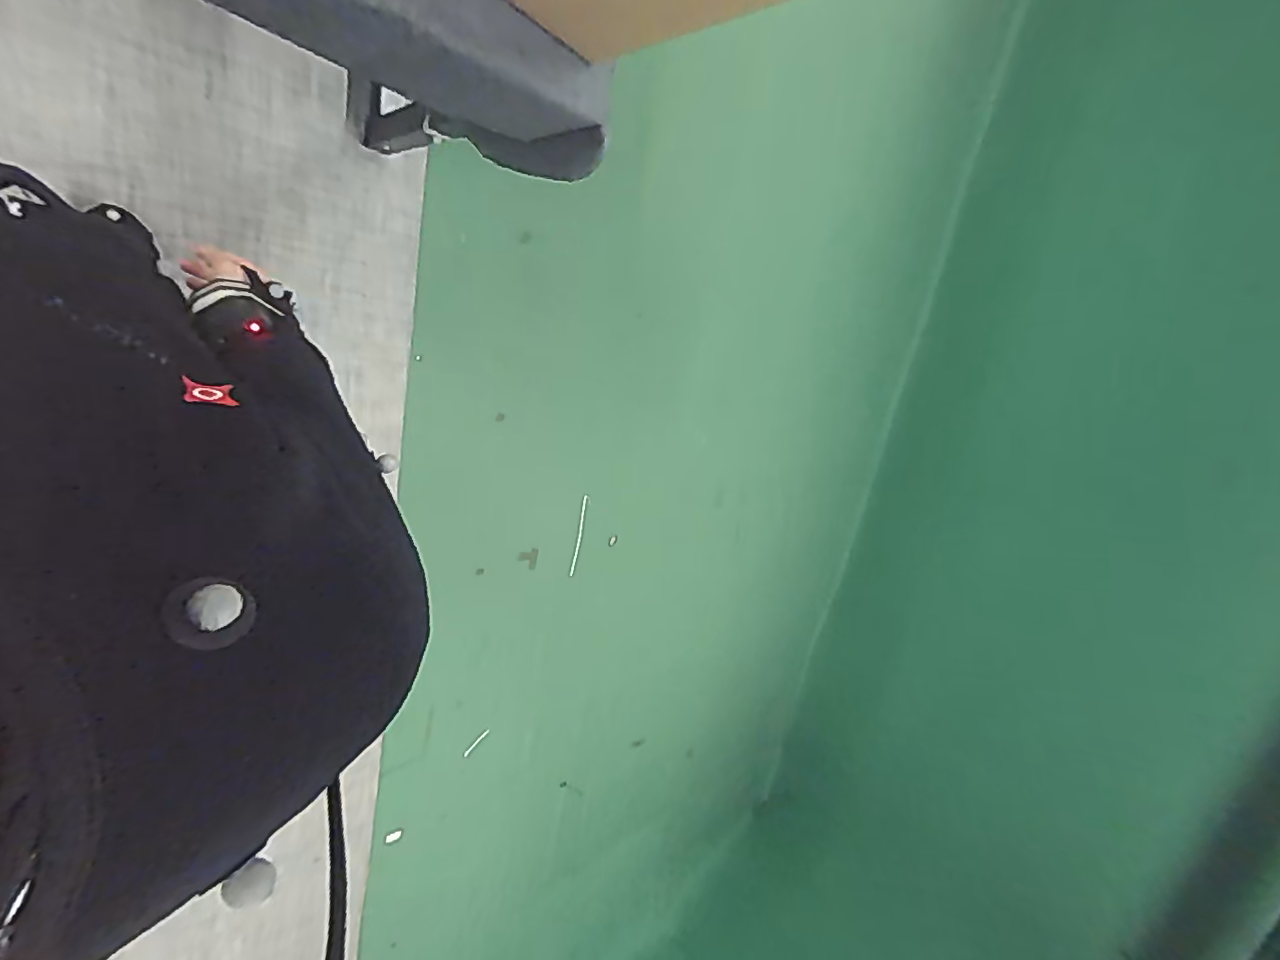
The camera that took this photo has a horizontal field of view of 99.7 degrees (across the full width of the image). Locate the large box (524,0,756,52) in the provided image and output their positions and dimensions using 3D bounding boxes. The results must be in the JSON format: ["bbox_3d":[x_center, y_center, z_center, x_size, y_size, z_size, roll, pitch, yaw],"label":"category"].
[{"bbox_3d":[-0.054,-0.634,0.411,0.408,0.320,0.320,2,108,-48],"label":"large box"}]
